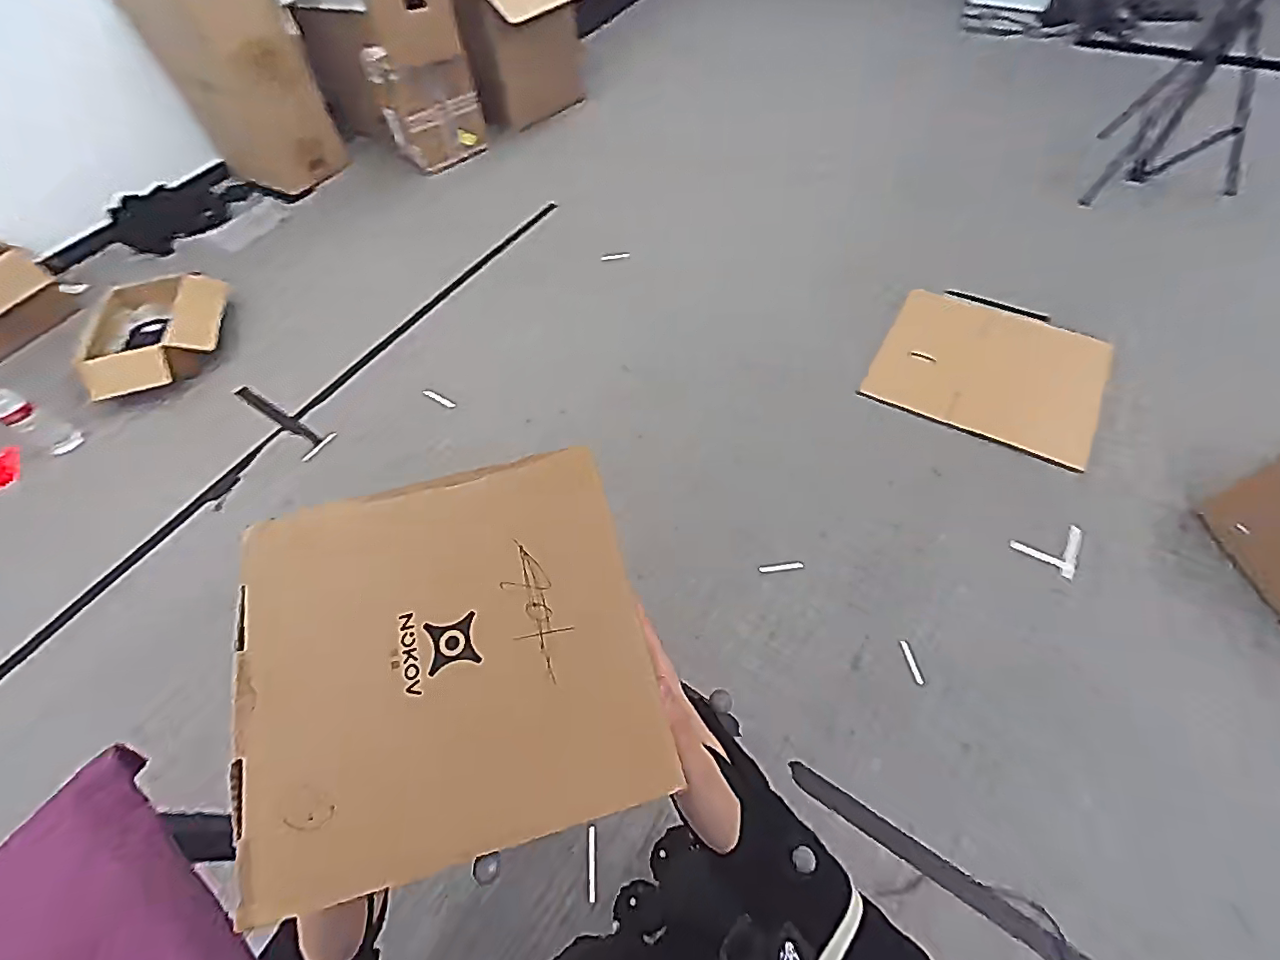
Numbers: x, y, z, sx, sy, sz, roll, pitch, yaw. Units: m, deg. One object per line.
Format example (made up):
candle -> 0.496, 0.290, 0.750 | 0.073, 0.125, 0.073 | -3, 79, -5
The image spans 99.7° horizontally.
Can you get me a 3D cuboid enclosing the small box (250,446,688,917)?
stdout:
small box -> -0.083, 0.106, 0.314 | 0.179, 0.176, 0.168 | -14, 67, -7
